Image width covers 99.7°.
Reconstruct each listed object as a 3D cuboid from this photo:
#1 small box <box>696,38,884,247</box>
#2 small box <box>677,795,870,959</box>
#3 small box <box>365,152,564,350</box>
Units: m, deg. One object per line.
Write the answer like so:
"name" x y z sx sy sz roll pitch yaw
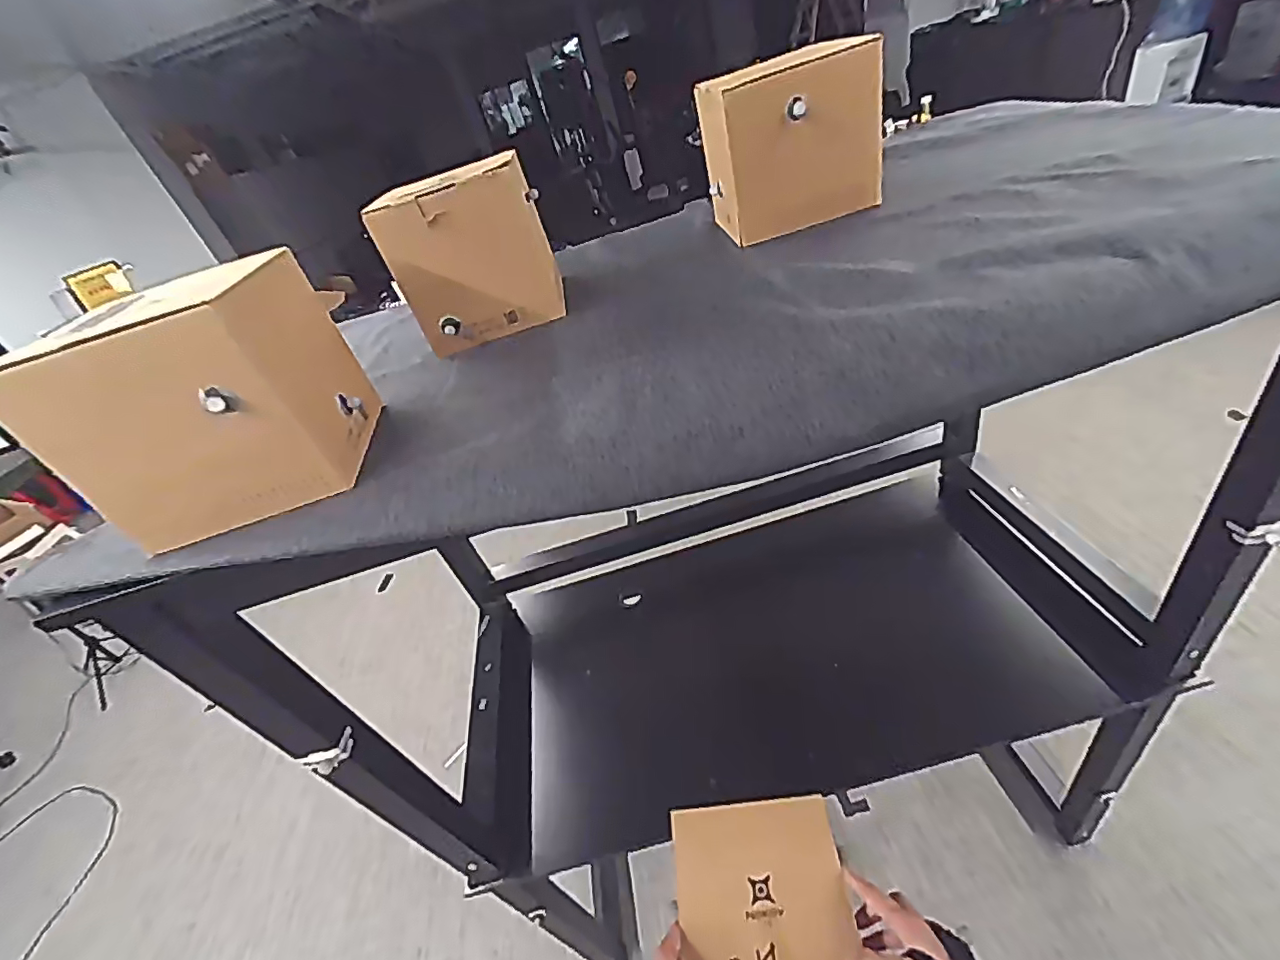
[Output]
"small box" 0.182 -0.417 0.674 0.179 0.176 0.168 -16 36 6
"small box" 0.135 0.463 0.567 0.168 0.176 0.179 -10 40 6
"small box" -0.199 -0.279 0.669 0.168 0.176 0.179 -18 36 2
